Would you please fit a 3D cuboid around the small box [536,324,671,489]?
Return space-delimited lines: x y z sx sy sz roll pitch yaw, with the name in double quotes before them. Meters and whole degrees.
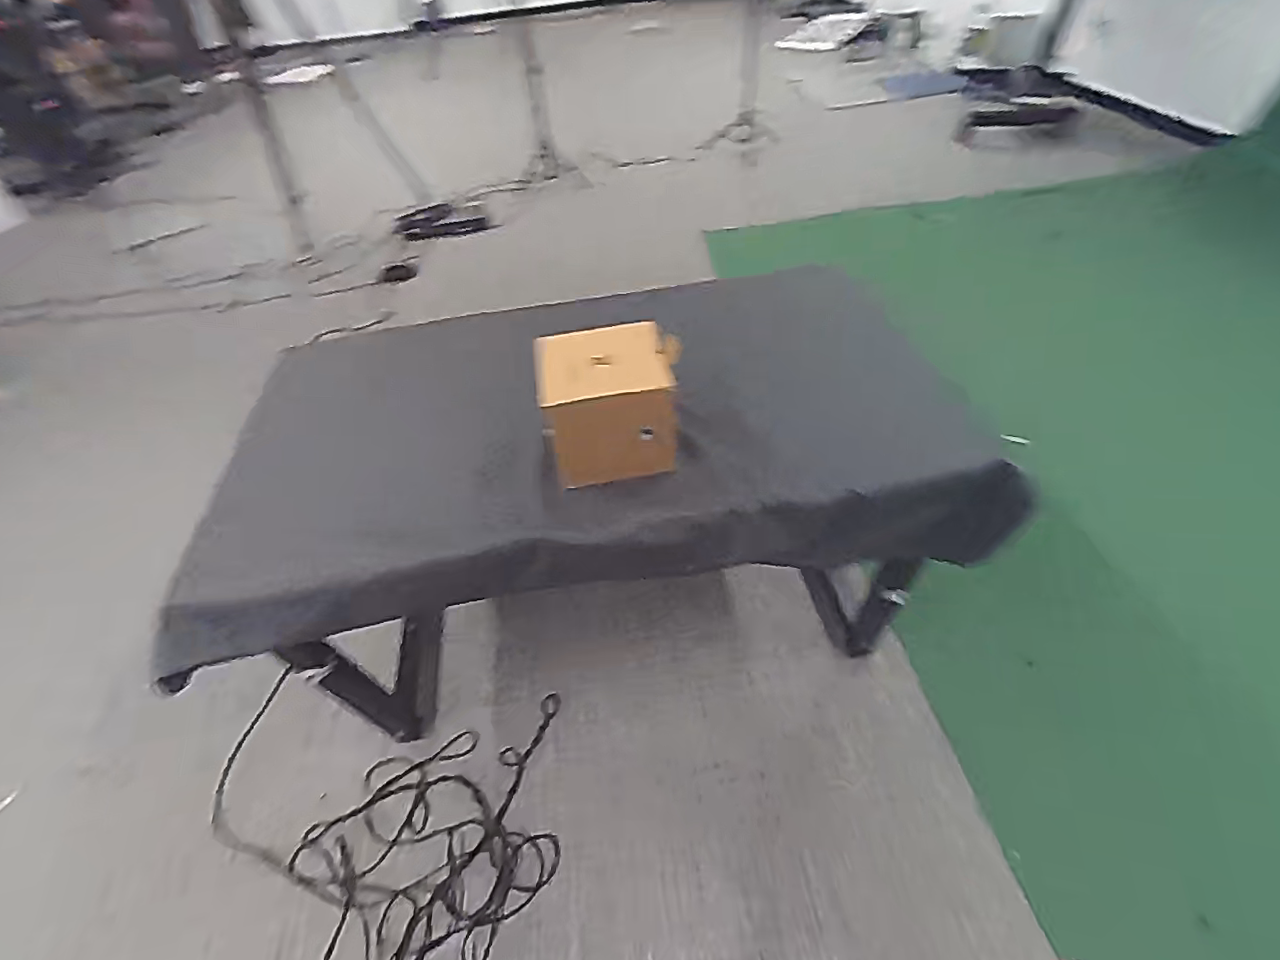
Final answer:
"small box" -0.052 -0.109 0.823 0.179 0.176 0.168 -11 47 -3
